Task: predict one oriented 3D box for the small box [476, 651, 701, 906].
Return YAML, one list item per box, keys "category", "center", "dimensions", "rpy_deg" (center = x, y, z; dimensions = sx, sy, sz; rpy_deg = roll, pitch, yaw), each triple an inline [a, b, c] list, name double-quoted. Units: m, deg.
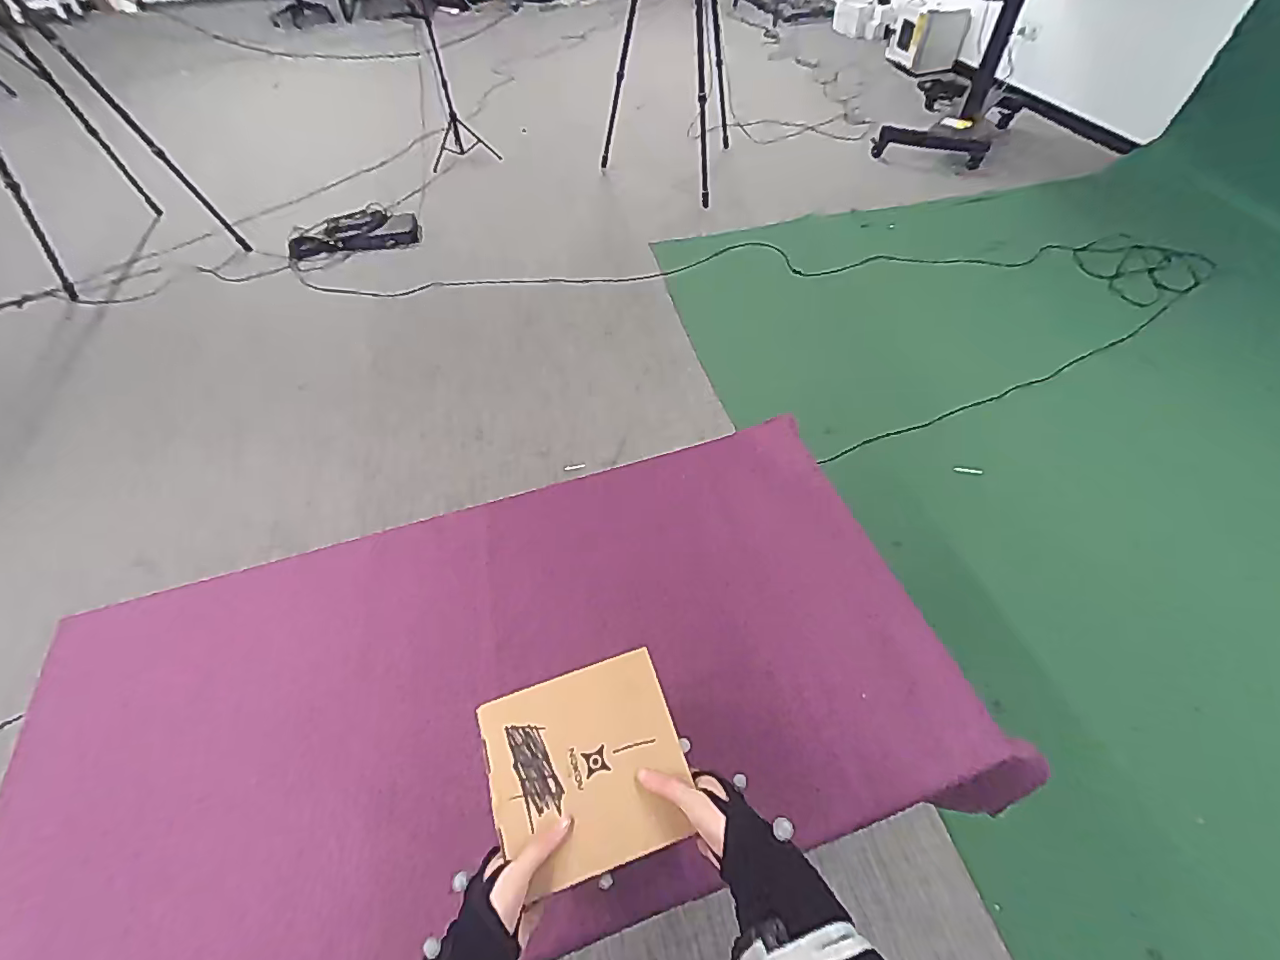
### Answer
- category: "small box"
  center: [-0.049, 0.302, 0.557]
  dimensions: [0.179, 0.176, 0.168]
  rpy_deg: [-17, 60, -8]
